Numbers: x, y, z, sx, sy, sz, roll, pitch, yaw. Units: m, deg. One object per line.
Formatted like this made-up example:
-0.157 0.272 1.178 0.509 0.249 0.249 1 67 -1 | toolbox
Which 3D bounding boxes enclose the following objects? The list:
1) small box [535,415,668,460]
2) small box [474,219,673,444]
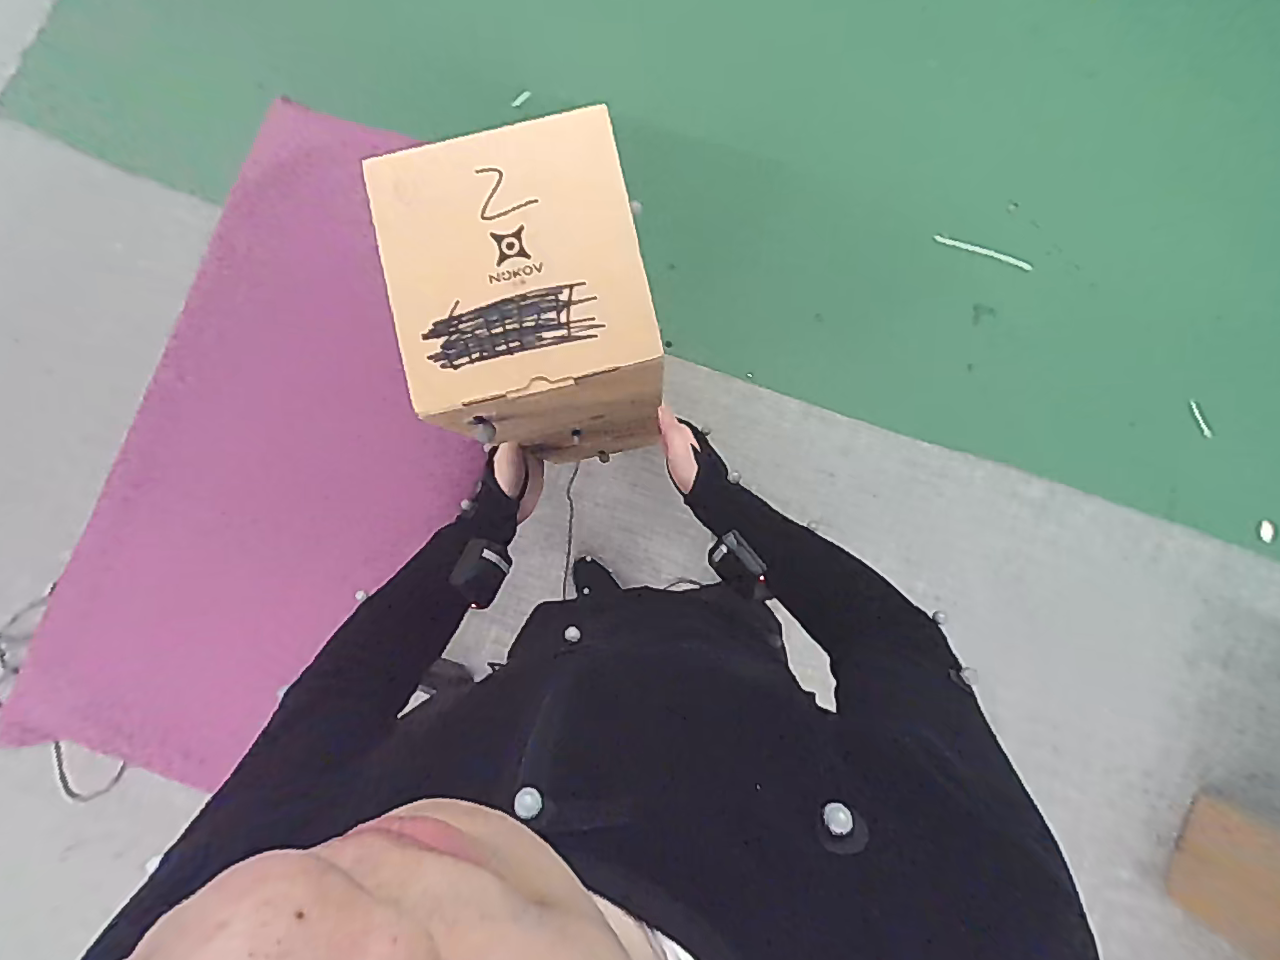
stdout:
-0.059 -0.131 0.745 0.168 0.176 0.179 -11 88 1 | small box
-0.064 -0.145 0.584 0.168 0.176 0.179 -10 88 0 | small box
